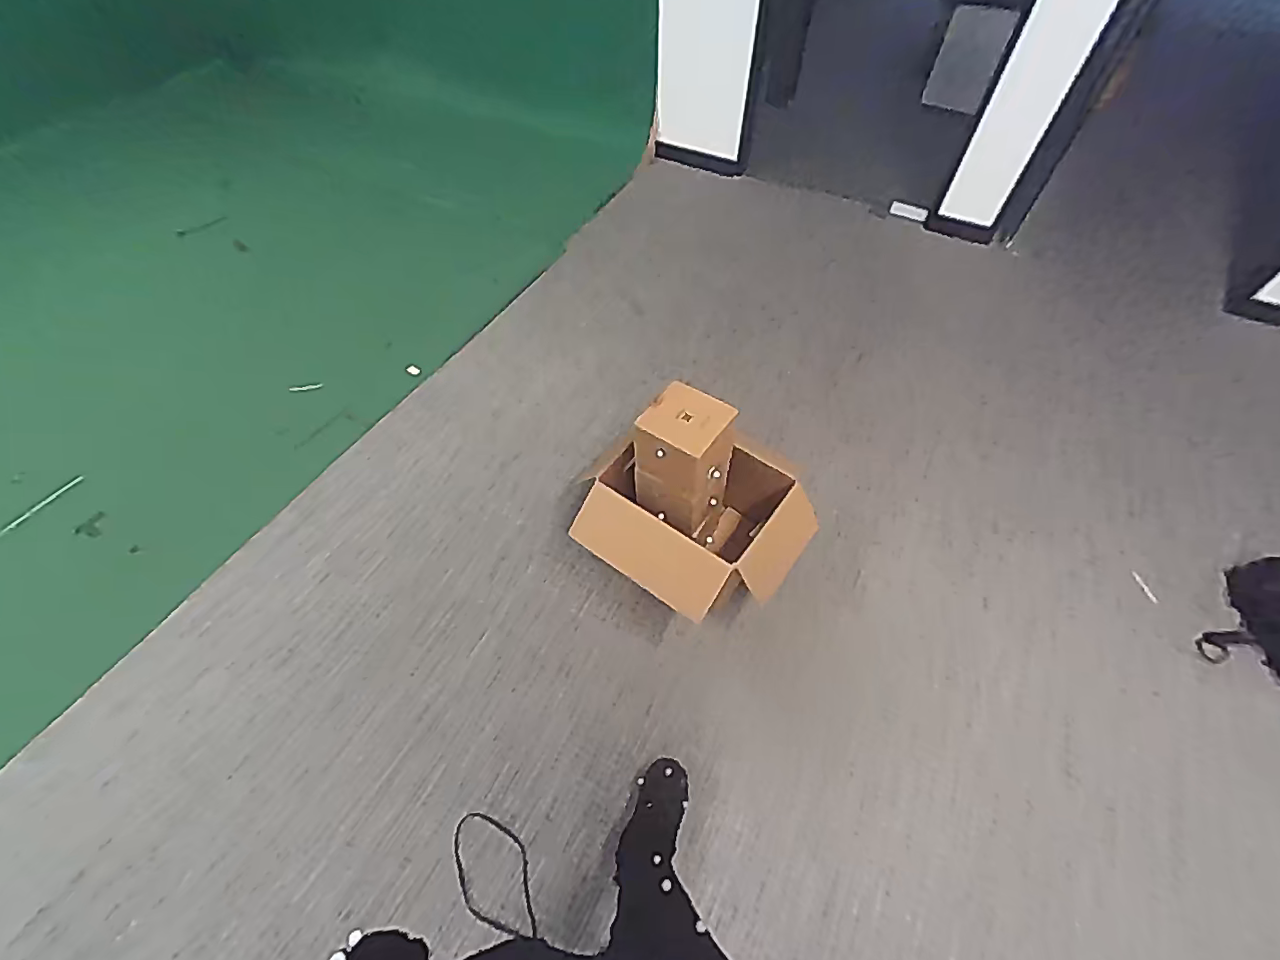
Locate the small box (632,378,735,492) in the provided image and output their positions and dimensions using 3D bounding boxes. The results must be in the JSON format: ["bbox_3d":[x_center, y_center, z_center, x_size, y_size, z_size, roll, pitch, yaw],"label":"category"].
[{"bbox_3d":[0.098,-0.101,1.261,0.179,0.176,0.168,30,62,20],"label":"small box"}]
